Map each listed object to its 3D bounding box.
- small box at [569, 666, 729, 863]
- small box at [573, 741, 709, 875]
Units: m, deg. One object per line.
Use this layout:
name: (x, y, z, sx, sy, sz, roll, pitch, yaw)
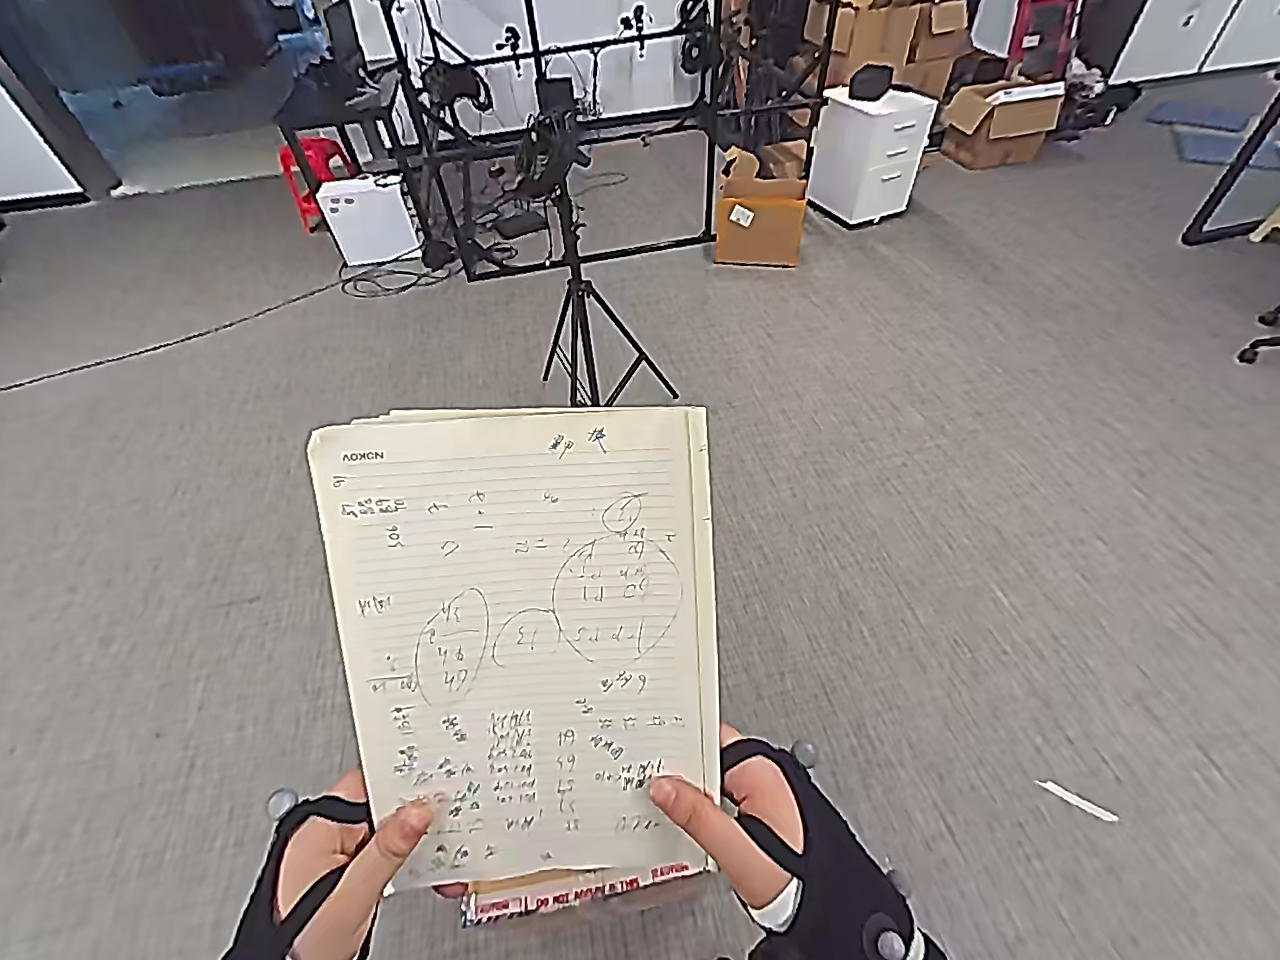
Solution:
small box: (0.004, 0.369, 0.702, 0.168, 0.176, 0.179, -9, 50, -7)
small box: (0.003, 0.478, 0.826, 0.179, 0.176, 0.168, -12, 50, -8)
